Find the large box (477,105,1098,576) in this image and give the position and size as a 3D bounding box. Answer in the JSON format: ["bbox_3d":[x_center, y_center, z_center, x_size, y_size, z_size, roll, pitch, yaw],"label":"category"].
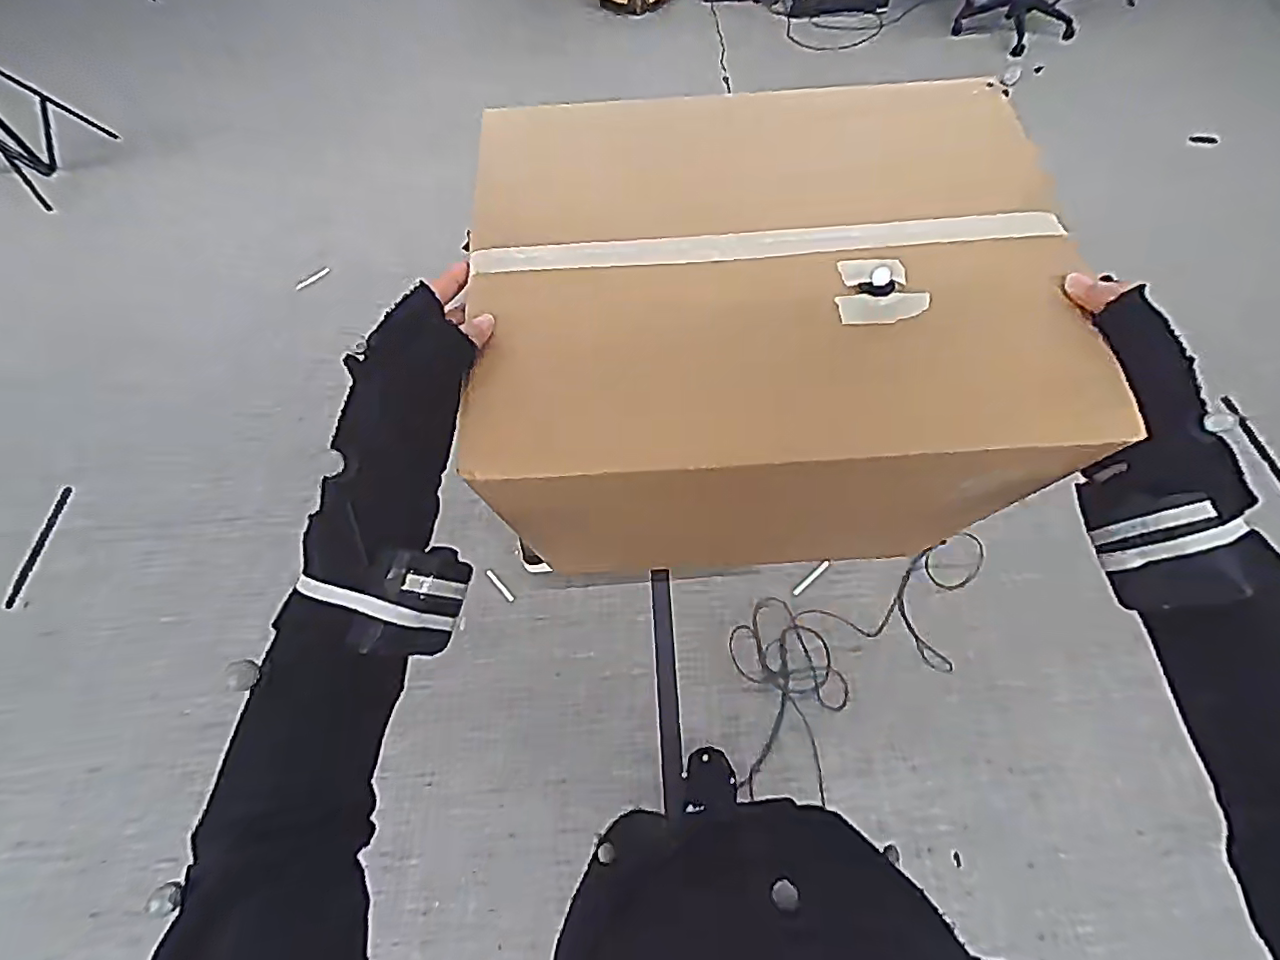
[{"bbox_3d":[0.085,-0.101,0.532,0.408,0.320,0.320,-4,69,0],"label":"large box"}]
